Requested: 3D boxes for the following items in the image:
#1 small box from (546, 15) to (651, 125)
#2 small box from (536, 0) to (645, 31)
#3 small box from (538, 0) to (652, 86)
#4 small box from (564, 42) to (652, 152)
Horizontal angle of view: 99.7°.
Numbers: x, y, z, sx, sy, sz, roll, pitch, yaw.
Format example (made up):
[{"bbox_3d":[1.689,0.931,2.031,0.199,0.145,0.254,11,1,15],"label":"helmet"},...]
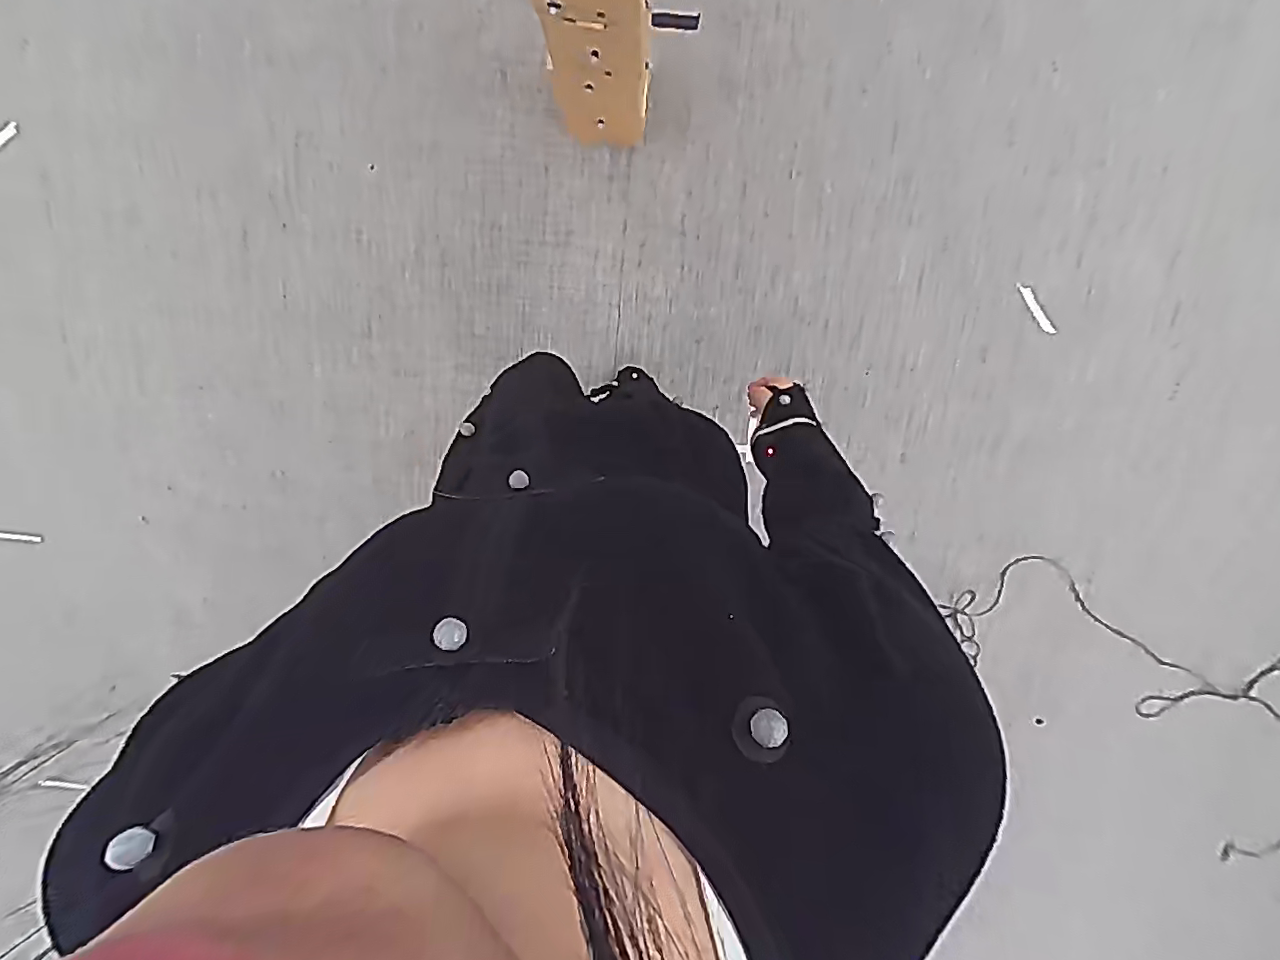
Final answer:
[{"bbox_3d":[-0.076,-0.832,1.063,0.179,0.176,0.168,8,103,-2],"label":"small box"},{"bbox_3d":[-0.069,-0.768,0.742,0.168,0.176,0.179,7,101,-1],"label":"small box"},{"bbox_3d":[-0.066,-0.800,0.903,0.168,0.176,0.179,7,103,-2],"label":"small box"},{"bbox_3d":[-0.070,-0.868,1.224,0.179,0.176,0.168,6,102,-1],"label":"small box"}]
